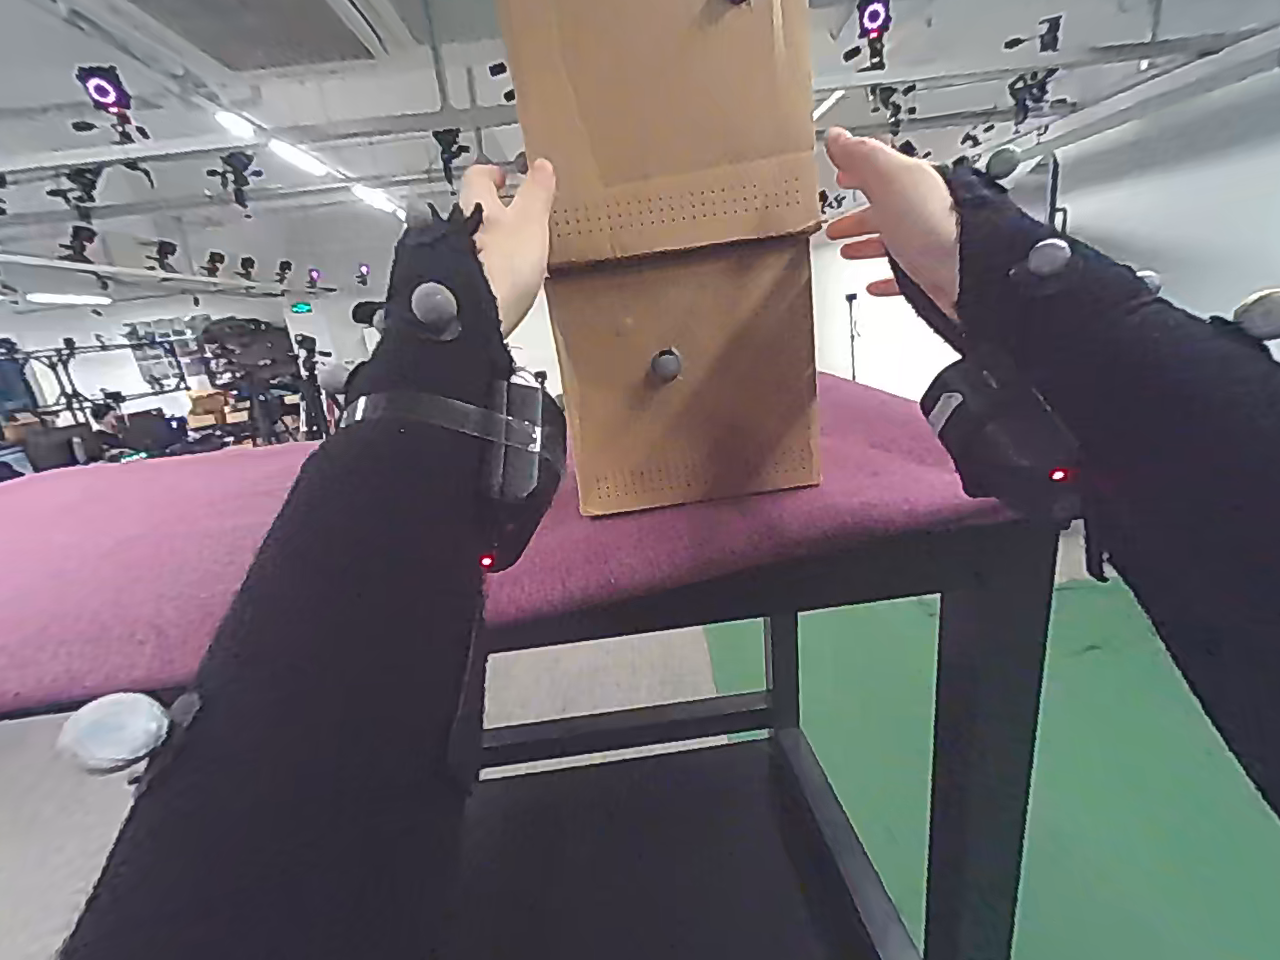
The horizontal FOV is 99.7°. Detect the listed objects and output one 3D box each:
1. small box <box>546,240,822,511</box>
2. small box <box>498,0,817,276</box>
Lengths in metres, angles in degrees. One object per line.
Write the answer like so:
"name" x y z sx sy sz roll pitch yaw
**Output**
"small box" 0.033 -0.080 0.442 0.179 0.176 0.168 -9 14 -1
"small box" 0.013 -0.233 0.389 0.179 0.176 0.168 -8 14 -1
